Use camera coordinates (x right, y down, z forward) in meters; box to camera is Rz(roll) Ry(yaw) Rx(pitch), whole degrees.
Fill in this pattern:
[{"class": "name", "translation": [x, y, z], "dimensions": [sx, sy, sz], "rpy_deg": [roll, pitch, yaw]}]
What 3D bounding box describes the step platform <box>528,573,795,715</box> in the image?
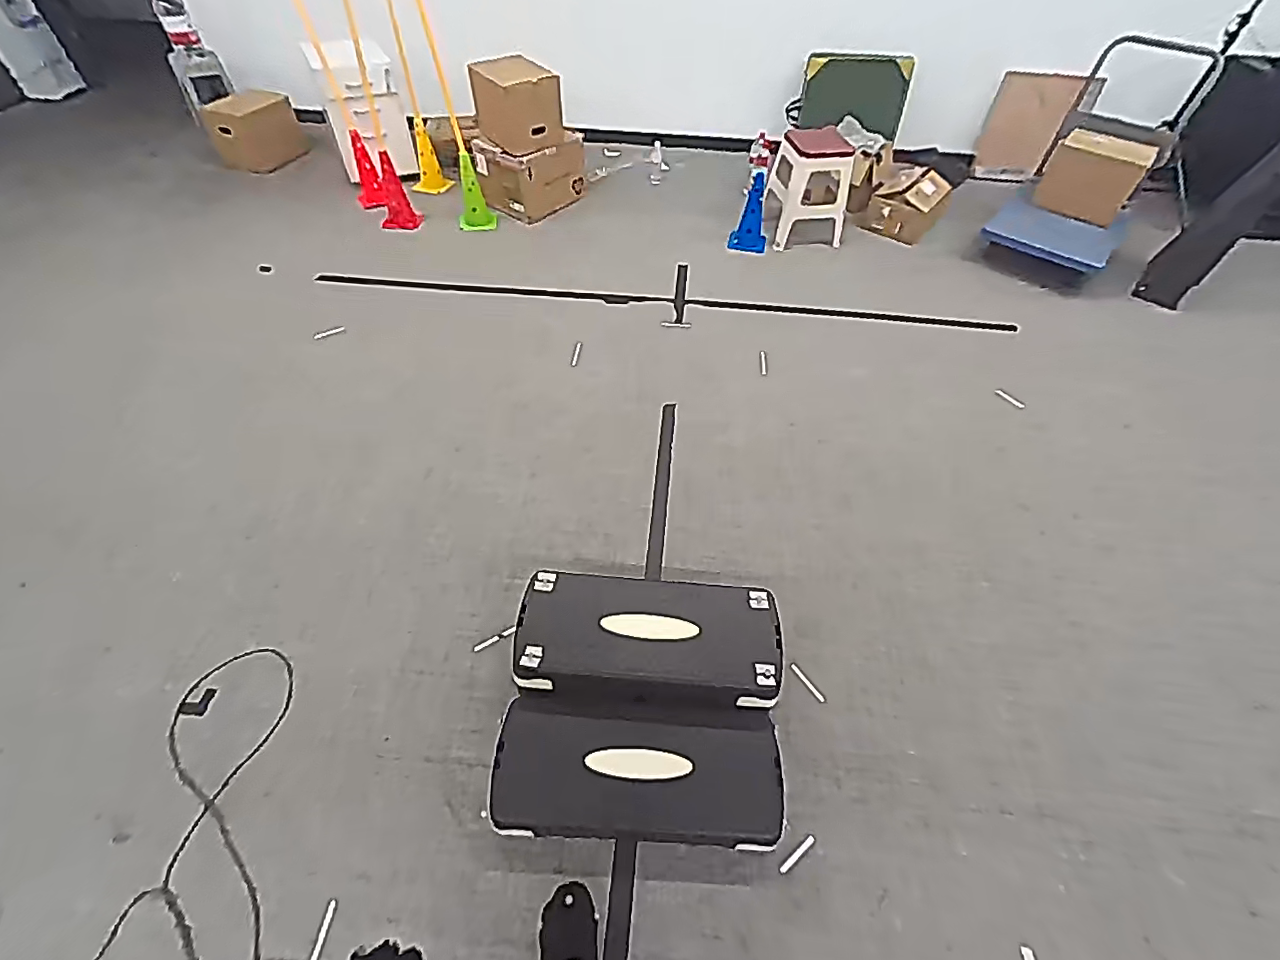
[{"class": "step platform", "translation": [0.054, 0.428, 1.430], "dimensions": [0.684, 0.204, 0.286], "rpy_deg": [5, 51, 0]}]
